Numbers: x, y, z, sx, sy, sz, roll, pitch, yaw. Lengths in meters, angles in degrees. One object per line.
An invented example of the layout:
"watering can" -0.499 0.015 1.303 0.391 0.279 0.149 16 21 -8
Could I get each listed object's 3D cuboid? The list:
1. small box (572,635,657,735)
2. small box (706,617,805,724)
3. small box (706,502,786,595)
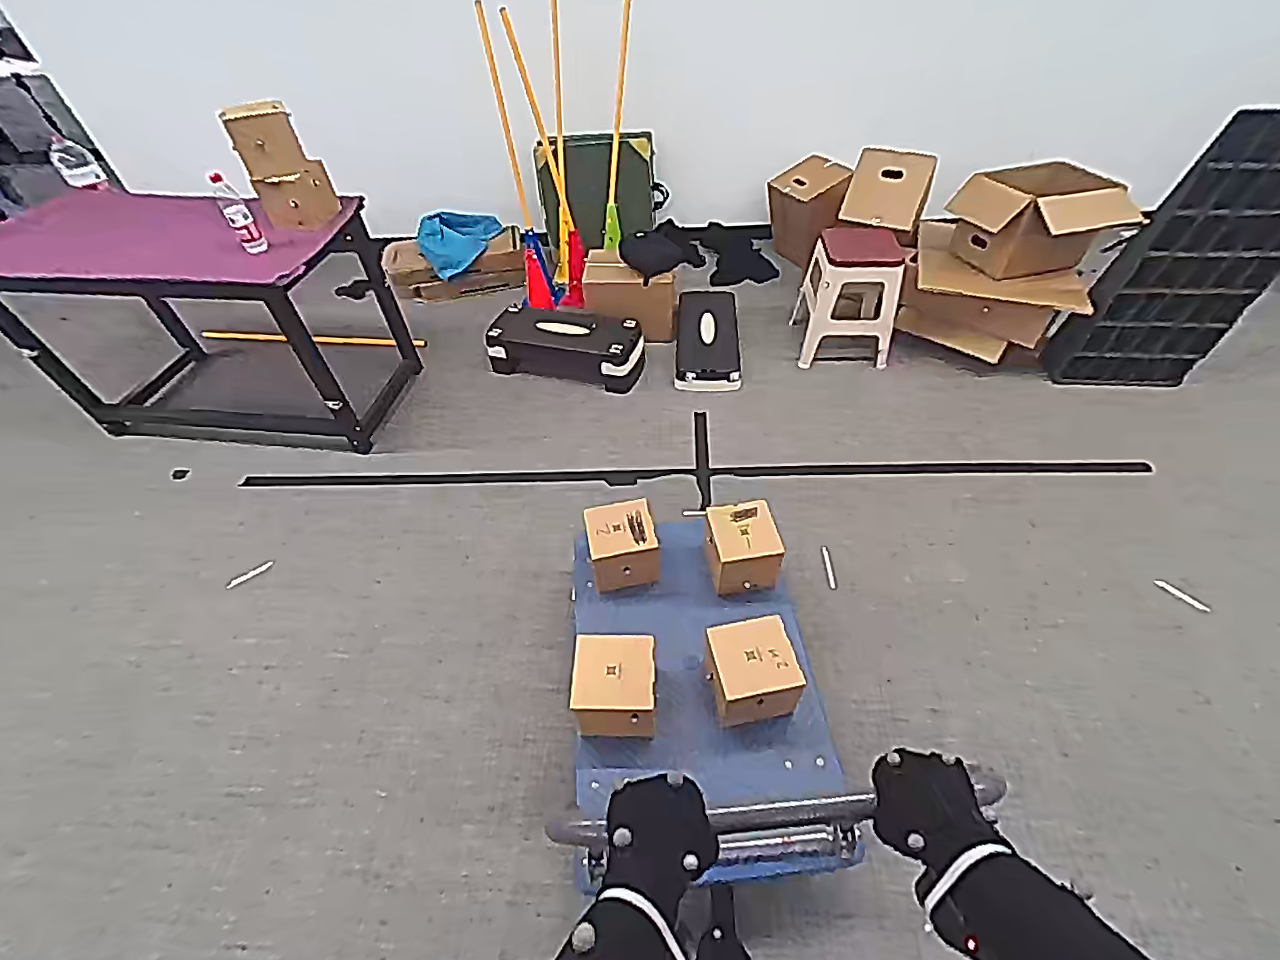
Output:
"small box" -0.050 0.468 1.228 0.179 0.176 0.168 0 48 1
"small box" 0.254 0.439 1.236 0.179 0.176 0.168 -9 49 -5
"small box" 0.276 0.186 1.461 0.168 0.176 0.179 -8 49 -4
